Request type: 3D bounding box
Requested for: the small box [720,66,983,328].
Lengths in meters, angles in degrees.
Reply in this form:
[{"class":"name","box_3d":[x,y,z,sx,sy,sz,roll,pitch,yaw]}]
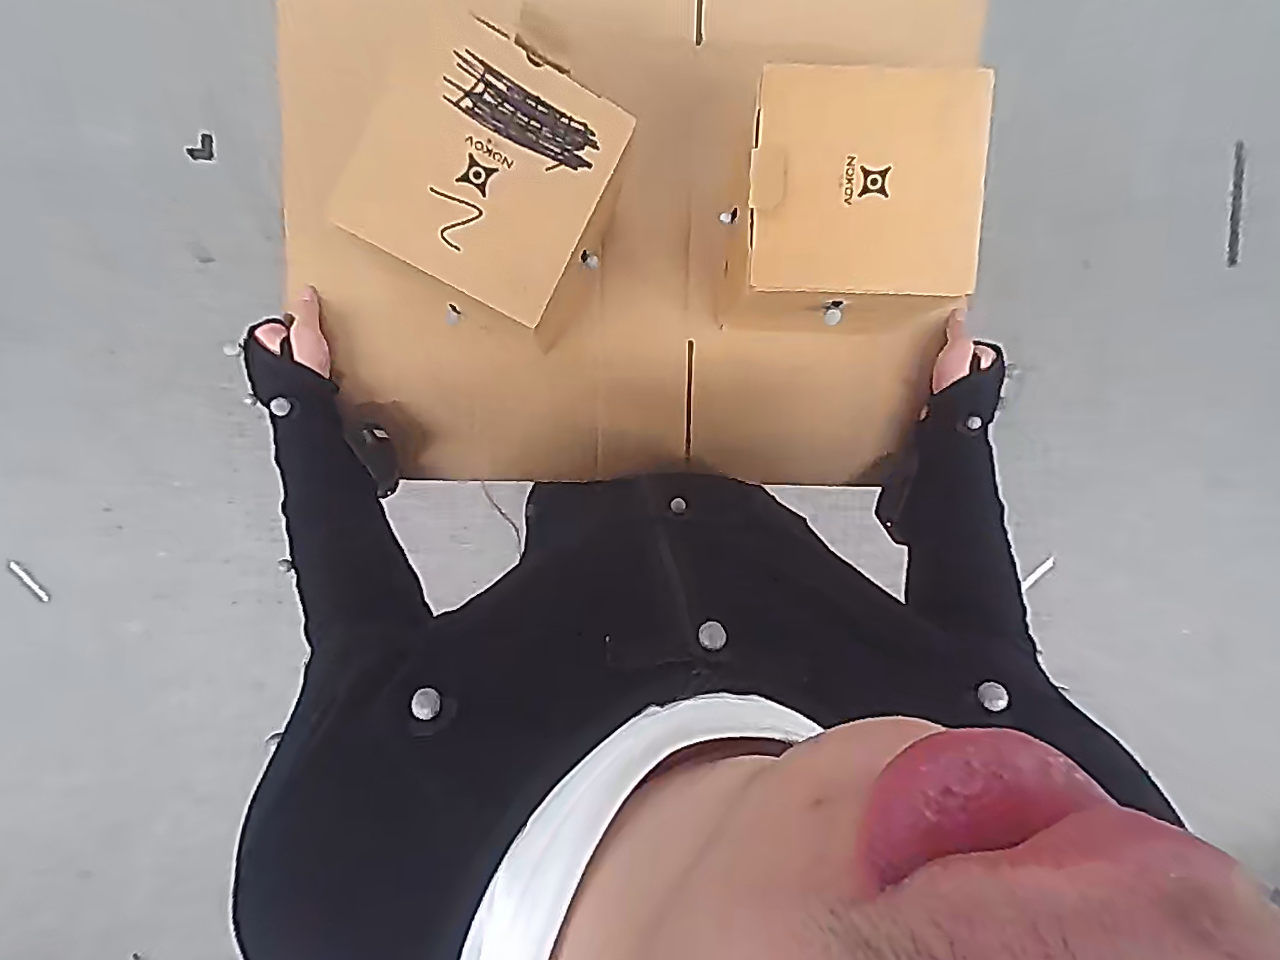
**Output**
[{"class":"small box","box_3d":[0.176,-0.242,0.504,0.179,0.176,0.168,2,95,2]}]
